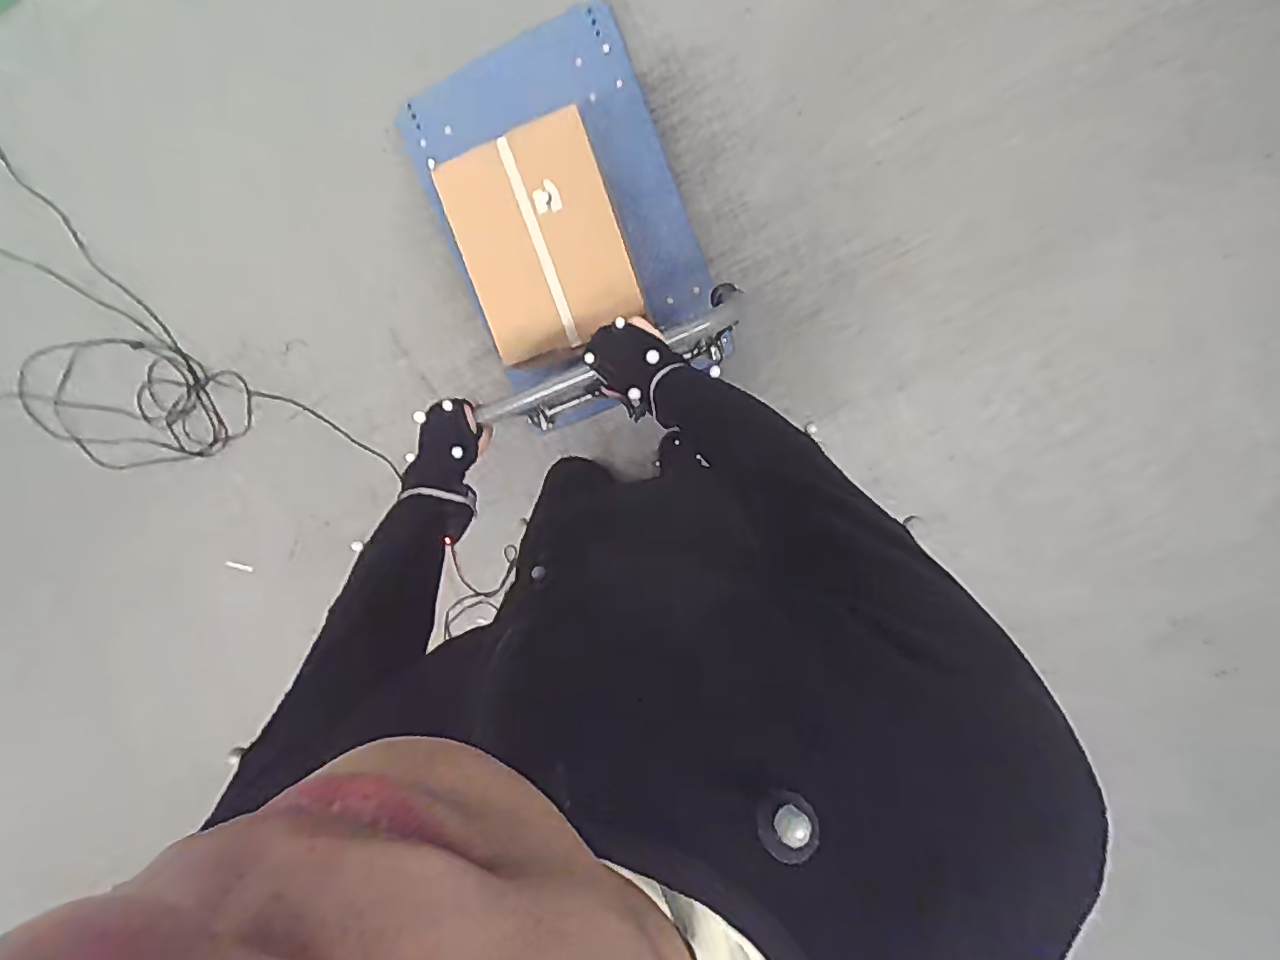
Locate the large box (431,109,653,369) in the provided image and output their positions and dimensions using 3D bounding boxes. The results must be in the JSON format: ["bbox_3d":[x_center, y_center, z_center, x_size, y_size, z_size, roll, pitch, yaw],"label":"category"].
[{"bbox_3d":[-0.187,-0.493,1.208,0.320,0.320,0.408,-18,98,8],"label":"large box"}]
